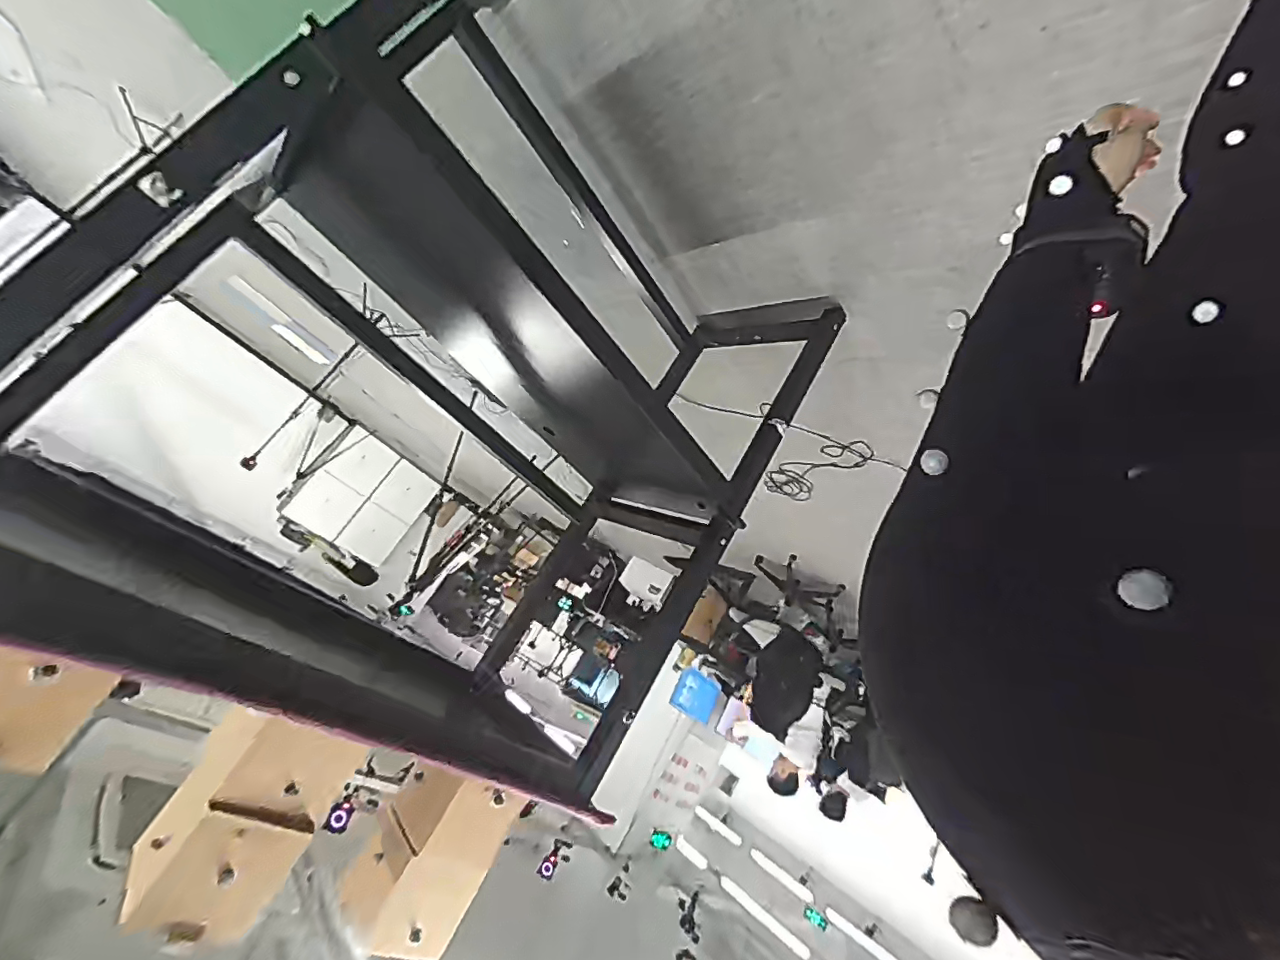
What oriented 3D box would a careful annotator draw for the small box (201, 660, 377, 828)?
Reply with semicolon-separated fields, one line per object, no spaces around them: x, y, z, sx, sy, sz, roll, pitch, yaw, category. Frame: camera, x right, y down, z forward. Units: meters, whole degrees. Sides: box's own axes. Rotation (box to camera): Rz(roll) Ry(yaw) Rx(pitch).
-0.577;0.431;0.899;0.168;0.176;0.179;13;153;48;small box

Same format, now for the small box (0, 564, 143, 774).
-0.776;0.226;0.680;0.179;0.176;0.168;15;157;46;small box

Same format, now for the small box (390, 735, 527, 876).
-0.357;0.636;1.078;0.179;0.176;0.168;7;150;51;small box

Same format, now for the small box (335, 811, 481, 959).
-0.437;0.773;1.032;0.179;0.176;0.168;43;159;-32;small box

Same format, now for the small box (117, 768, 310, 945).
-0.652;0.568;0.846;0.168;0.176;0.179;44;159;-32;small box
